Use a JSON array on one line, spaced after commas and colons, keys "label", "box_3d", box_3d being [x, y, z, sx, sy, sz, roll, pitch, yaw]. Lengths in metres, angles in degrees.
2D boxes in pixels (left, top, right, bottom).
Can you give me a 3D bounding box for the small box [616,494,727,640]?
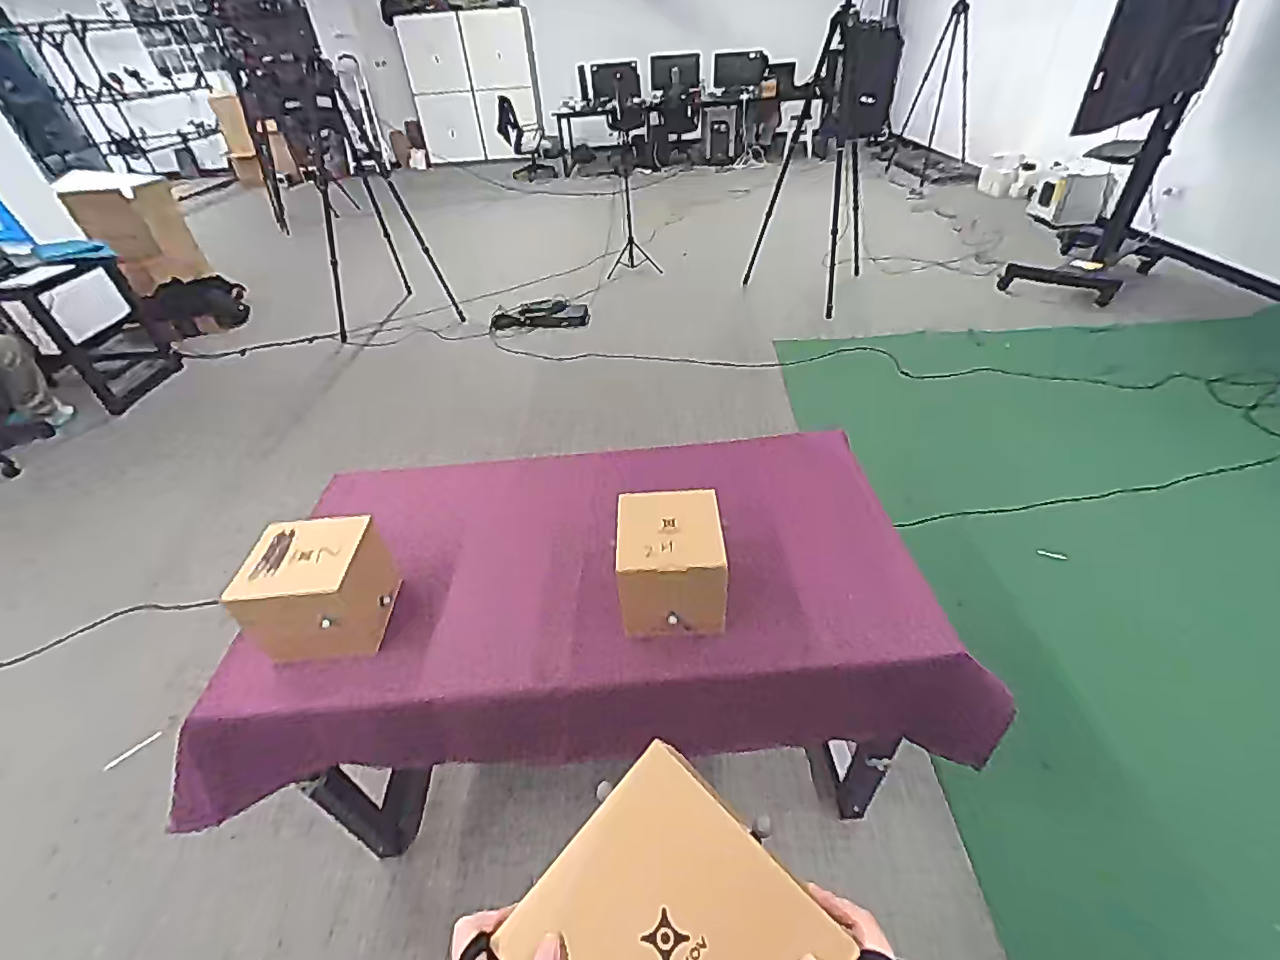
[{"label": "small box", "box_3d": [0.051, 0.144, 0.900, 0.168, 0.176, 0.179, -3, 40, 3]}]
